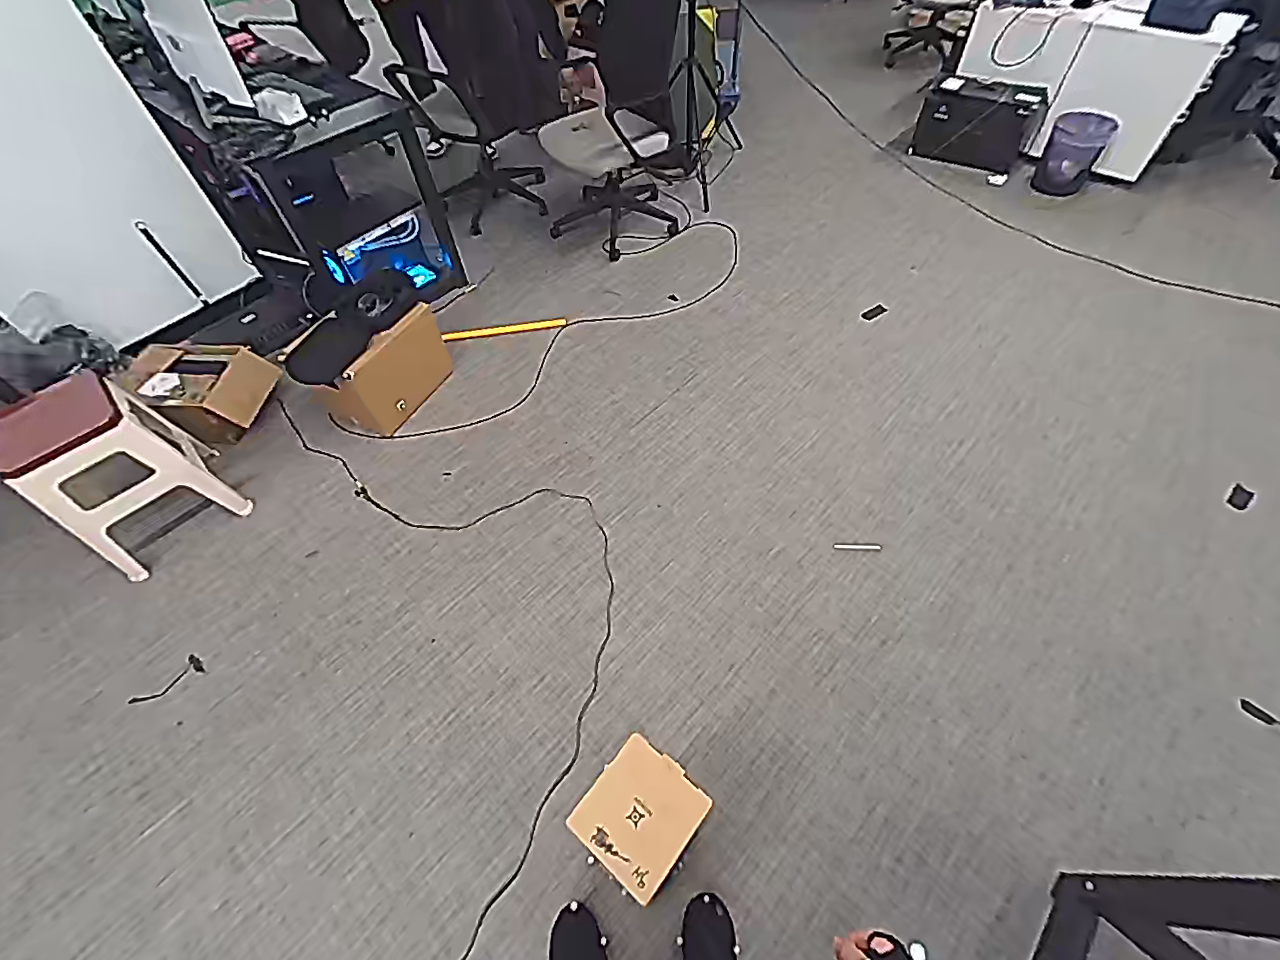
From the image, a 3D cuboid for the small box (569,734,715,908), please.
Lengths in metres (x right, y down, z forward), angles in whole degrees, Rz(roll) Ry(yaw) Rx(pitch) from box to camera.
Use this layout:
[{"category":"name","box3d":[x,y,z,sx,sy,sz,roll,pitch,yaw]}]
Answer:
[{"category":"small box","box3d":[0.005,0.570,0.910,0.168,0.176,0.179,33,61,25]}]
